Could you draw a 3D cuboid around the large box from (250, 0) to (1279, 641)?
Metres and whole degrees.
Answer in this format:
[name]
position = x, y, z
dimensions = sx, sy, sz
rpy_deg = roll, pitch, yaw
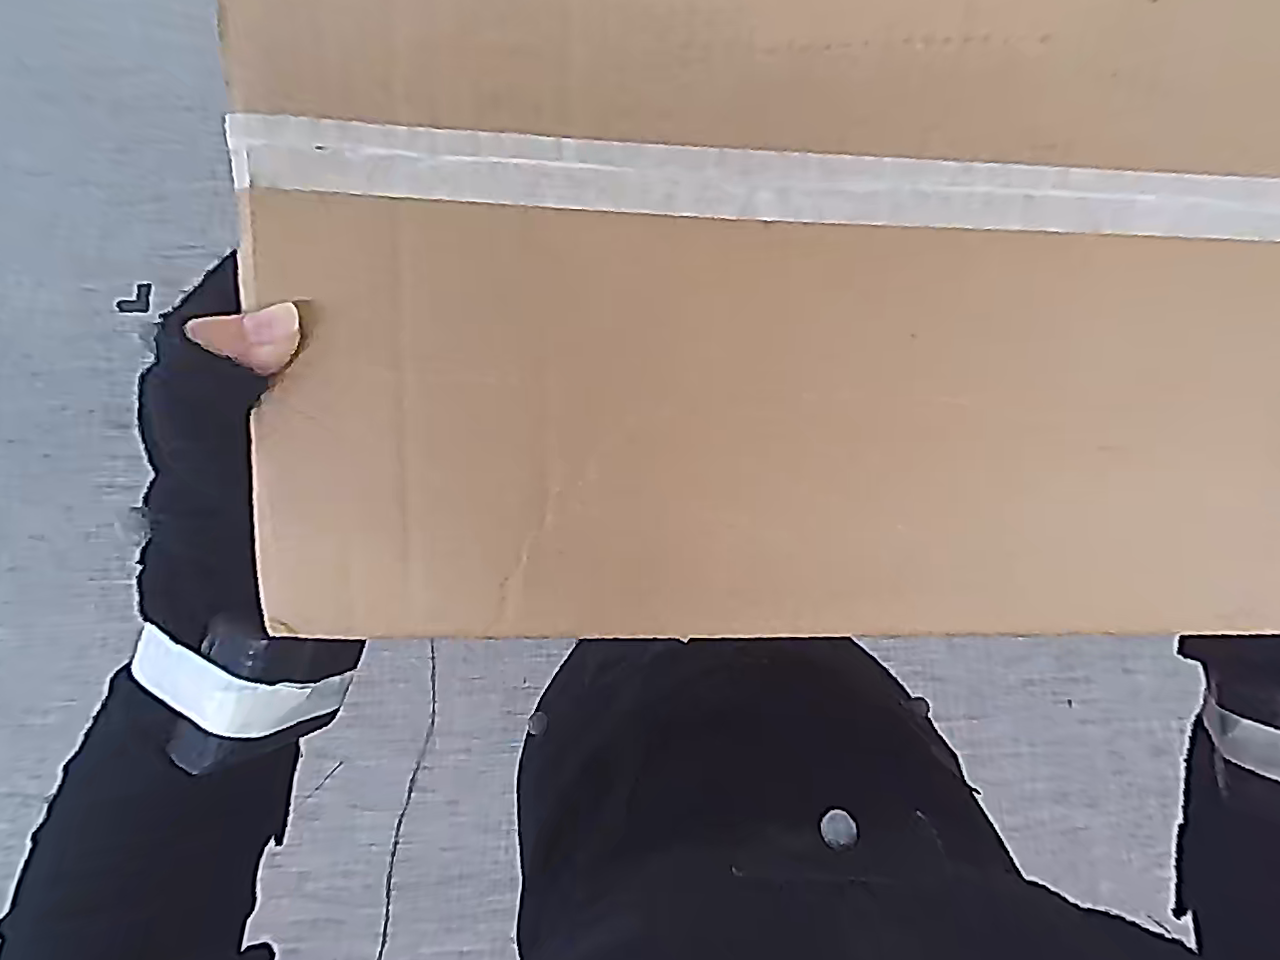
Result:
[large box]
position = 0.063, -0.113, 0.341
dimensions = 0.408, 0.320, 0.320
rpy_deg = 1, 97, -5
